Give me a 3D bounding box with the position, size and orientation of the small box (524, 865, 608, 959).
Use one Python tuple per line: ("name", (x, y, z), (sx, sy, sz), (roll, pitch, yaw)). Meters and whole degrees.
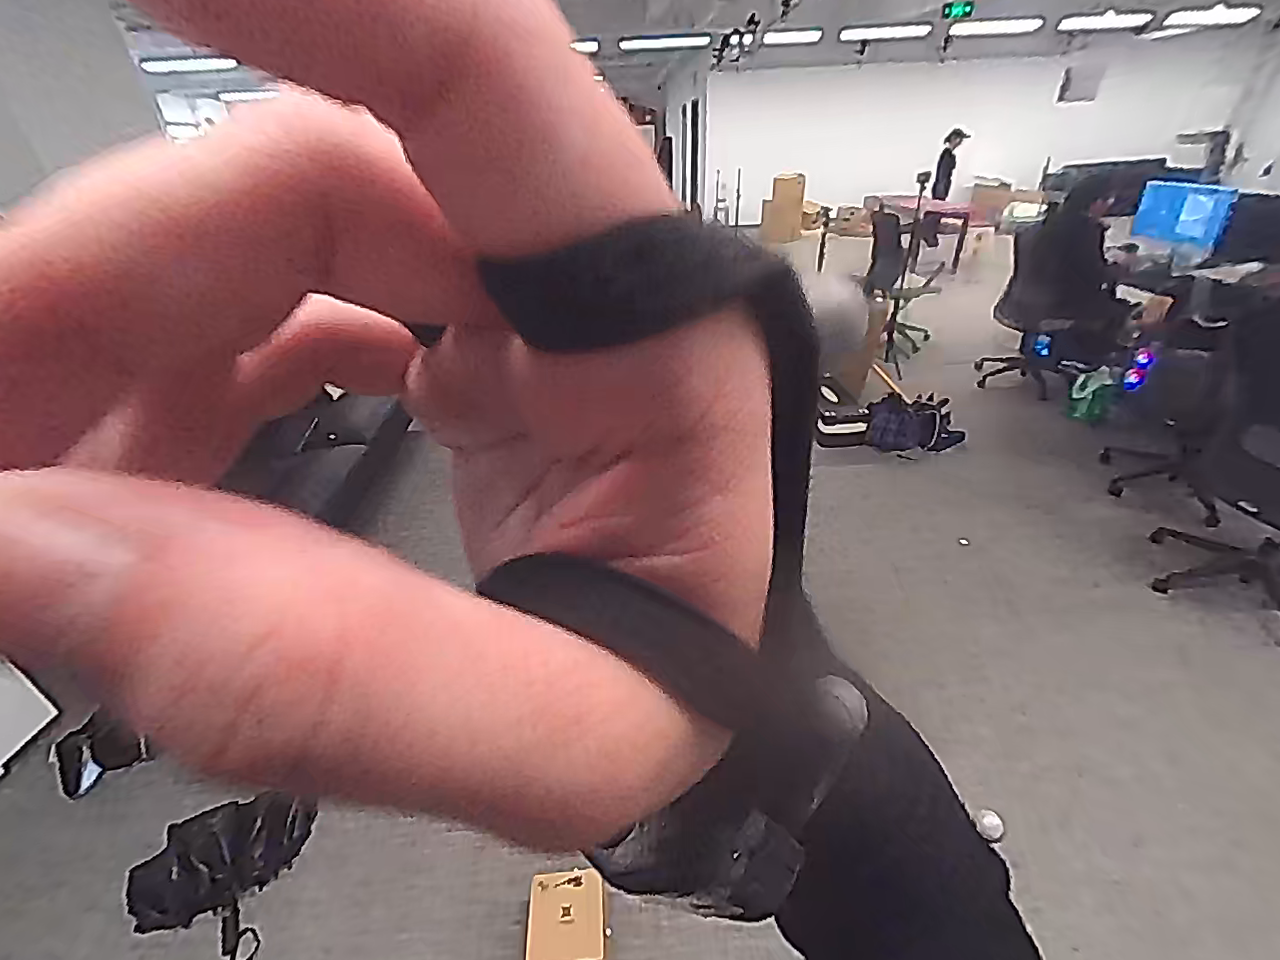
("small box", (-0.163, 1.019, 1.233), (0.168, 0.176, 0.179), (-5, 34, -2))
